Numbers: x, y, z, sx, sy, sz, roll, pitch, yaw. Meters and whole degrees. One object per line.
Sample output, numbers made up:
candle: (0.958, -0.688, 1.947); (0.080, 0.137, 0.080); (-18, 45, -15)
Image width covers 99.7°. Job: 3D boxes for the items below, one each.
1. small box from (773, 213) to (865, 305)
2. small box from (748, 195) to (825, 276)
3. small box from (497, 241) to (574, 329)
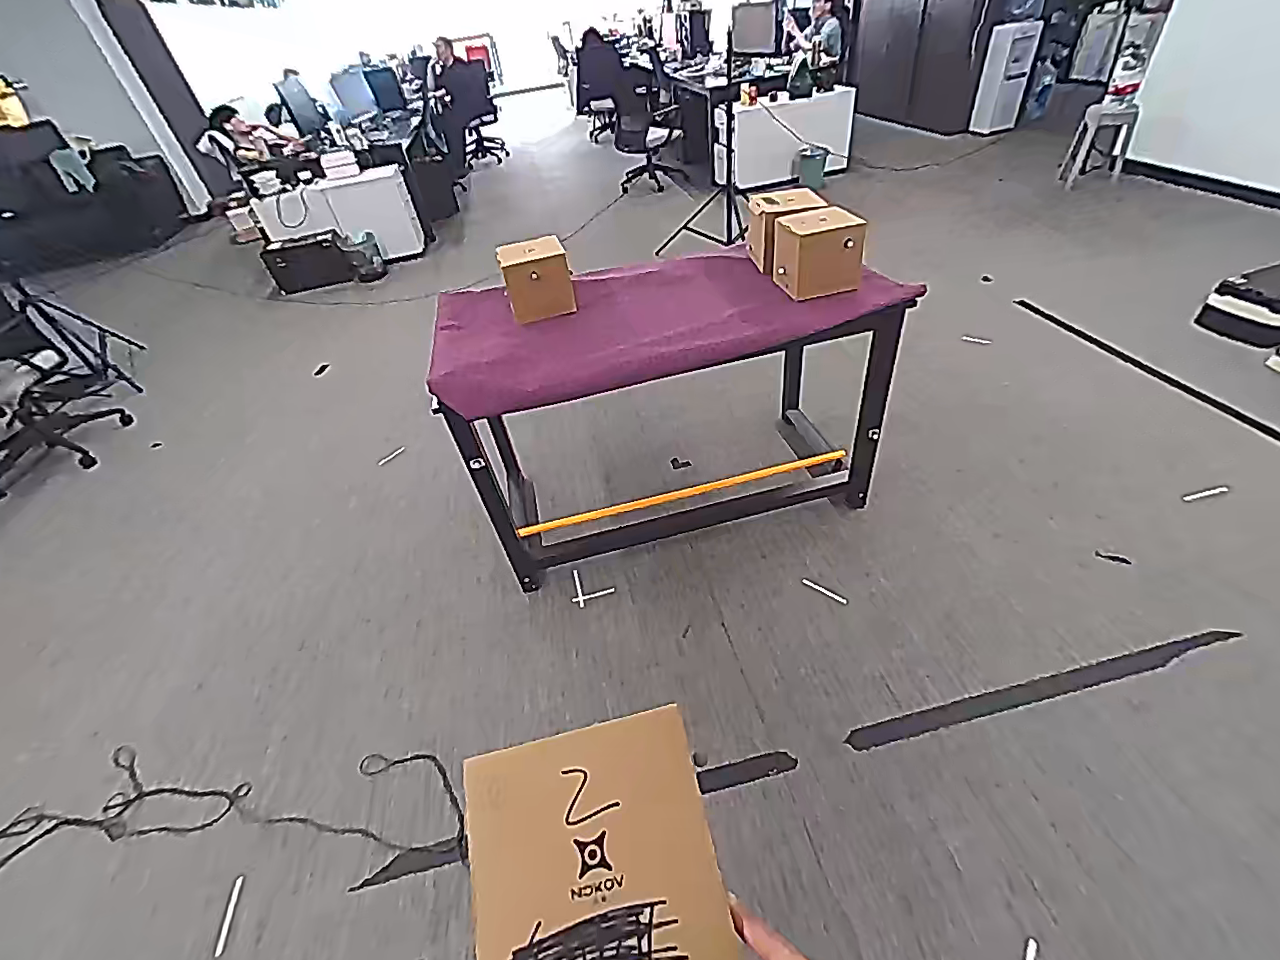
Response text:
small box: (0.463, -0.584, 1.429); (0.179, 0.176, 0.168); (-13, 40, -3)
small box: (0.418, -0.710, 1.578); (0.179, 0.176, 0.168); (-9, 43, -1)
small box: (-0.291, -0.550, 1.529); (0.179, 0.176, 0.168); (-16, 42, -8)
